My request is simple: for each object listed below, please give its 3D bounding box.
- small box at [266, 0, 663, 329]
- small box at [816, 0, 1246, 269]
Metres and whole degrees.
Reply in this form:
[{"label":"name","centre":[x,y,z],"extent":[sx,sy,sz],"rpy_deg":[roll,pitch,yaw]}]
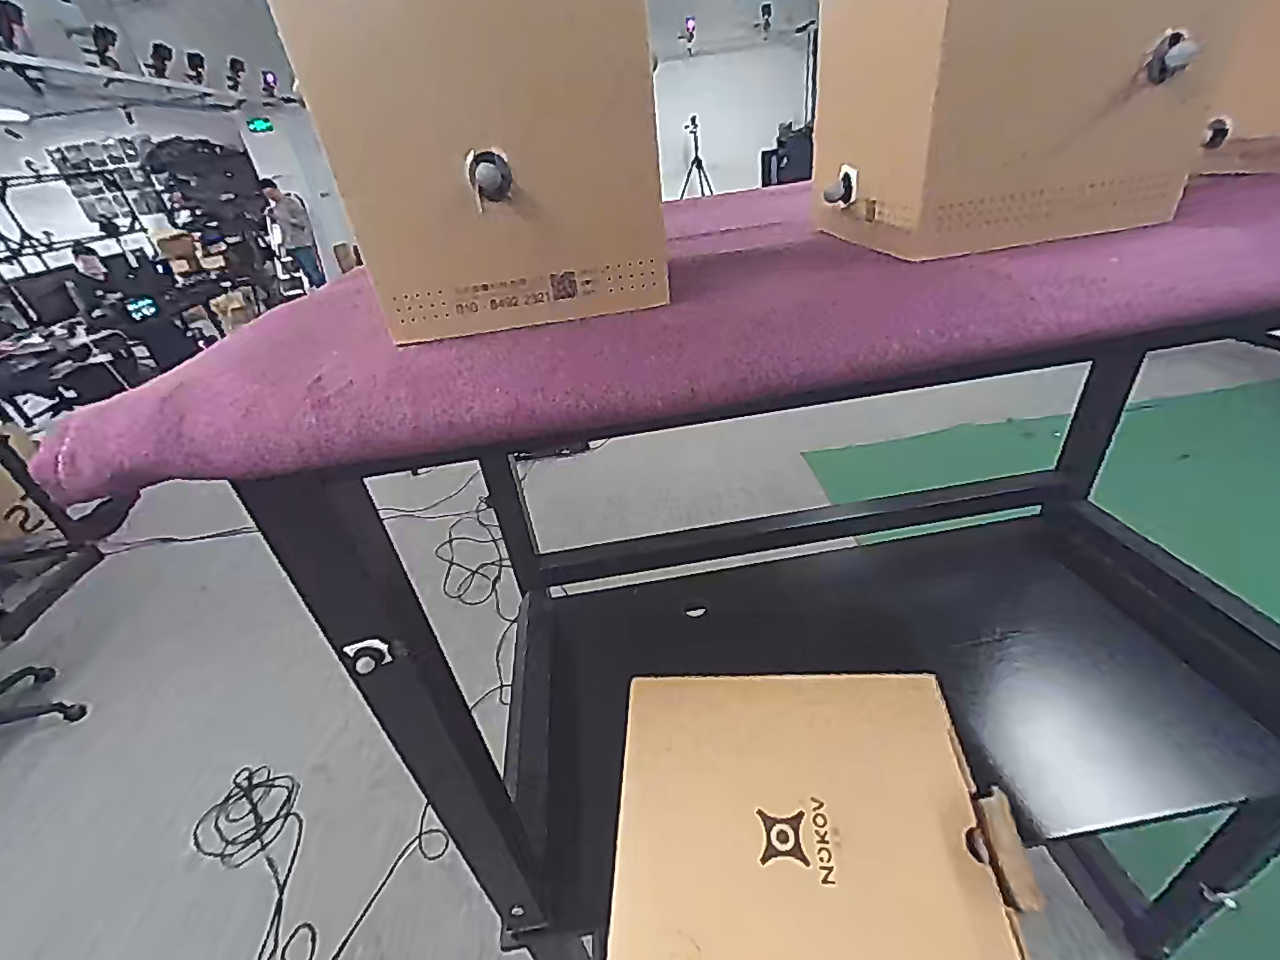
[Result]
[{"label":"small box","centre":[-0.082,-0.203,0.344],"extent":[0.168,0.176,0.179],"rpy_deg":[-9,33,-3]},{"label":"small box","centre":[0.234,-0.255,0.365],"extent":[0.179,0.176,0.168],"rpy_deg":[-11,32,-3]}]
